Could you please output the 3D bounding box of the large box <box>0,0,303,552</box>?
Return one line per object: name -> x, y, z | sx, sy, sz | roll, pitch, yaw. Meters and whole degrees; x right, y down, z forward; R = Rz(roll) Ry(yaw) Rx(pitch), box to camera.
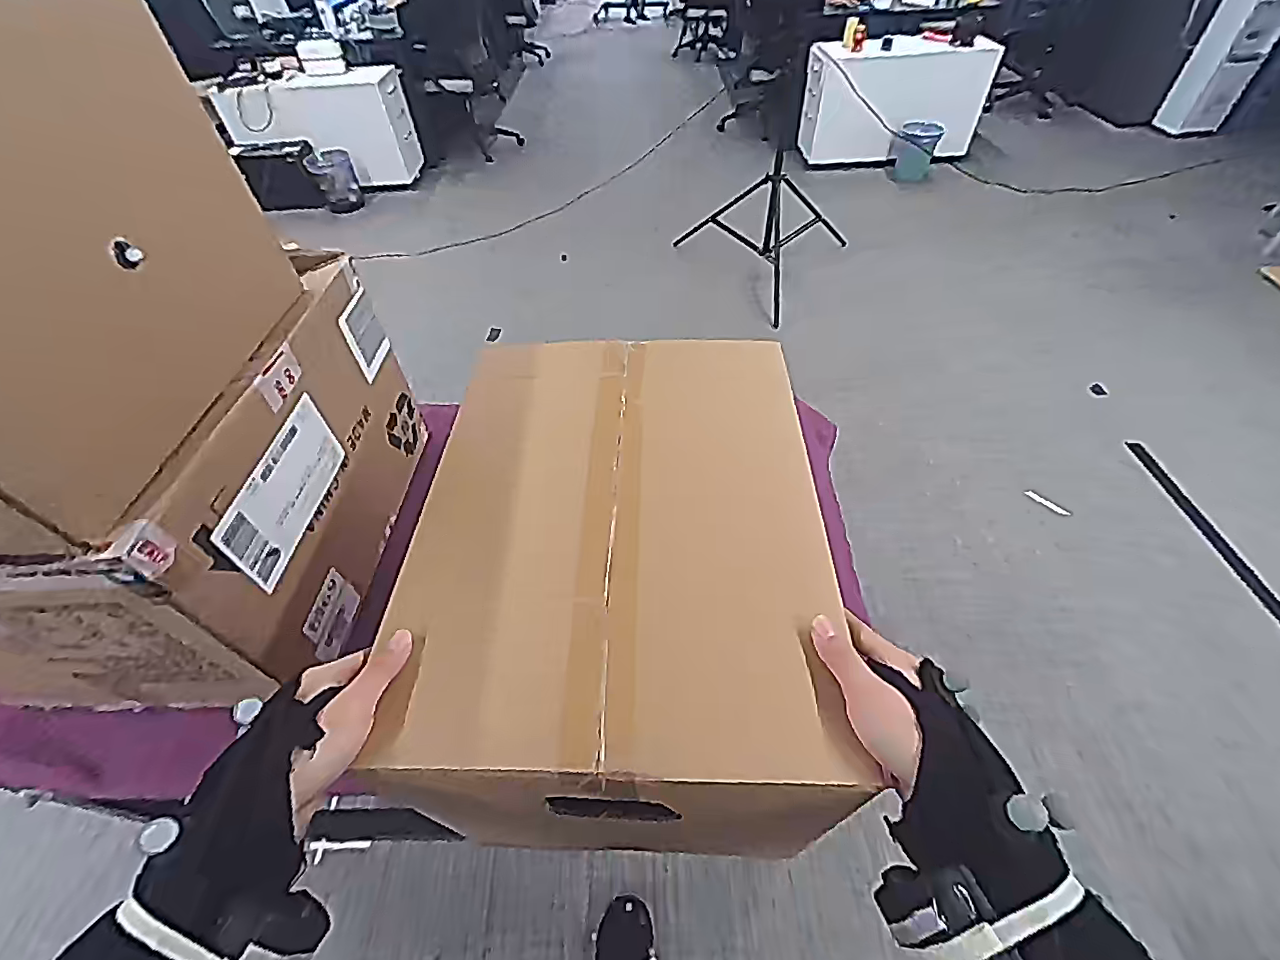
large box -> -0.576, -0.185, 0.455 | 0.320, 0.320, 0.408 | -3, 49, 2
